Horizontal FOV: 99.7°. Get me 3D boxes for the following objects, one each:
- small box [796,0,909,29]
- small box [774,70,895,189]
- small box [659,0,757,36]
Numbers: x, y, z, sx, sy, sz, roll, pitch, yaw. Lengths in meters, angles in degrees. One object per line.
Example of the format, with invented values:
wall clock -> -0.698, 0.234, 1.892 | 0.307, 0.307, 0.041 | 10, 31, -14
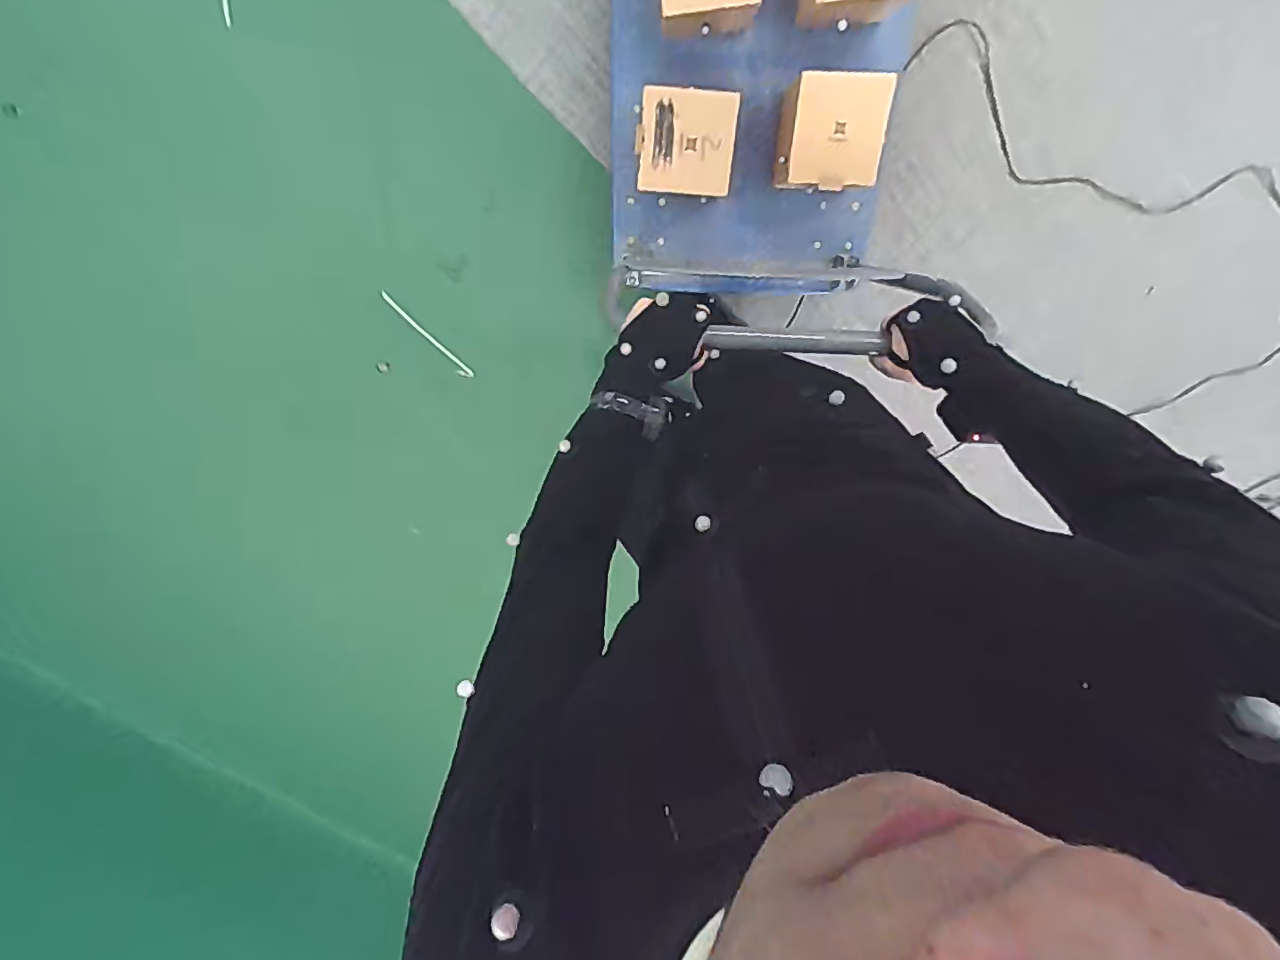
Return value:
small box -> 0.369, -0.904, 0.919 | 0.168, 0.176, 0.179 | -1, 118, 4
small box -> 0.363, -0.668, 1.048 | 0.168, 0.176, 0.179 | 3, 118, 2
small box -> 0.113, -0.899, 0.936 | 0.168, 0.176, 0.179 | -4, 118, 4
